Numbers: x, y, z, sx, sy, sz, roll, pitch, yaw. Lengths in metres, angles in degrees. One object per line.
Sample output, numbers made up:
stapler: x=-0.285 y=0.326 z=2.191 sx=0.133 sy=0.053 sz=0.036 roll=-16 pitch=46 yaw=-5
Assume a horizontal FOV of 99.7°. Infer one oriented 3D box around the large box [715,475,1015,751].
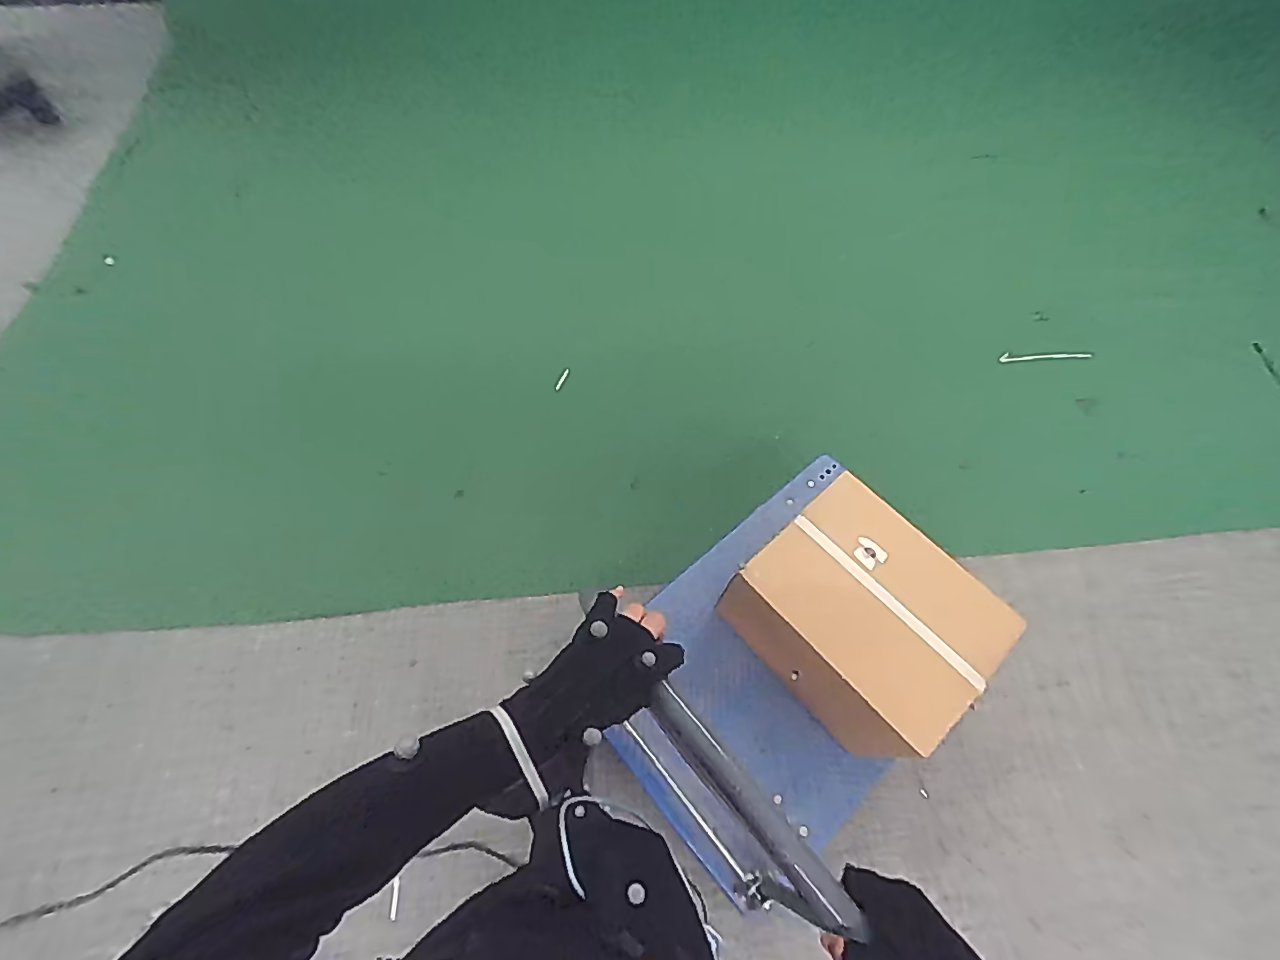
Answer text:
large box: x=0.415 y=0.275 z=1.096 sx=0.320 sy=0.320 sz=0.408 roll=-38 pitch=70 yaw=-19
